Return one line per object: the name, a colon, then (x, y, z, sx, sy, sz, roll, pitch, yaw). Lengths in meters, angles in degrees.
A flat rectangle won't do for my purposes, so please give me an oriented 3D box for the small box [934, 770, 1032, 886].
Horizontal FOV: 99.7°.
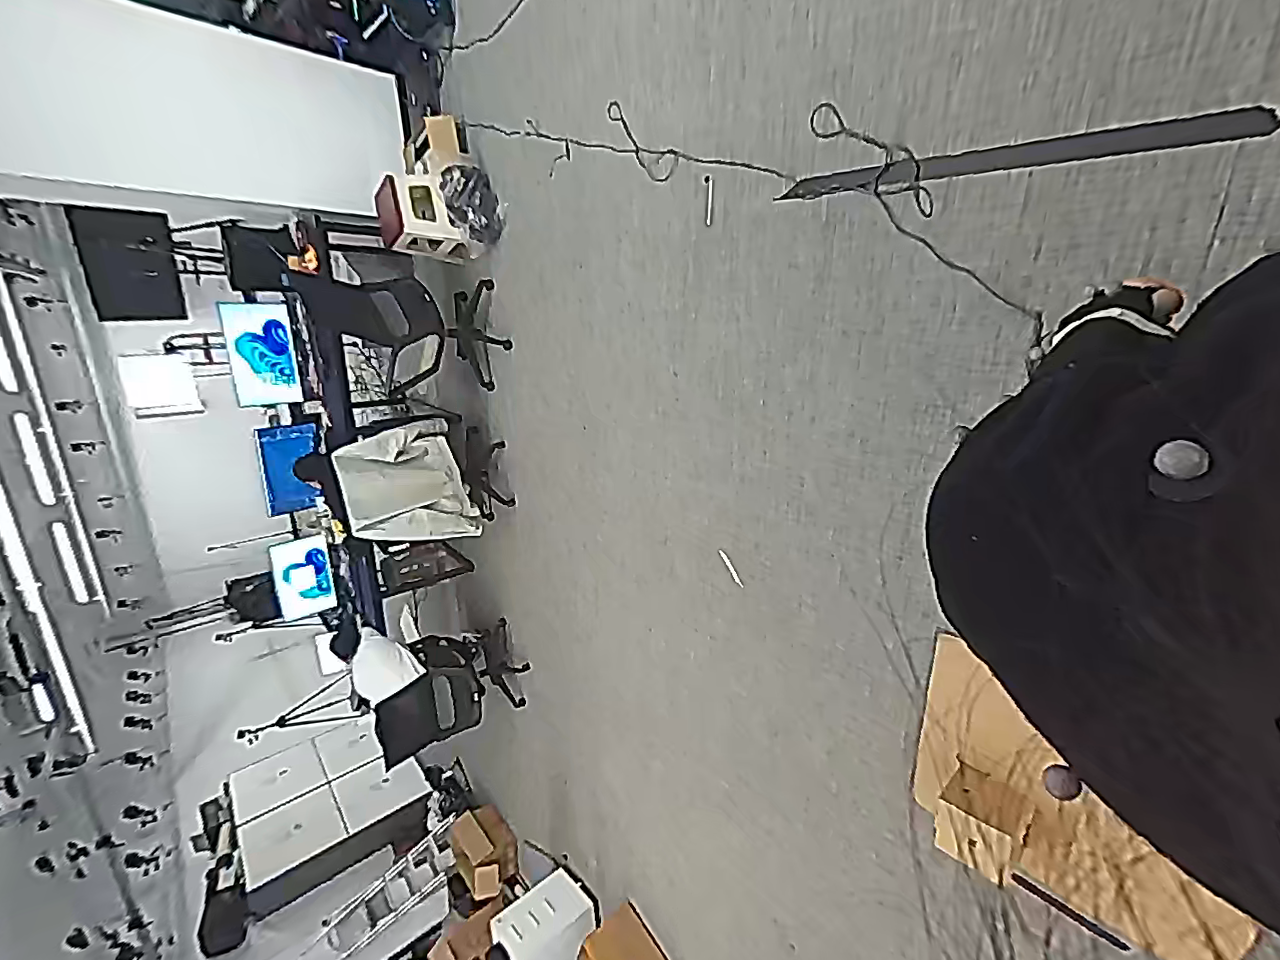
small box: (0.924, 0.924, 1.460, 0.179, 0.176, 0.168, 12, 111, 47)
